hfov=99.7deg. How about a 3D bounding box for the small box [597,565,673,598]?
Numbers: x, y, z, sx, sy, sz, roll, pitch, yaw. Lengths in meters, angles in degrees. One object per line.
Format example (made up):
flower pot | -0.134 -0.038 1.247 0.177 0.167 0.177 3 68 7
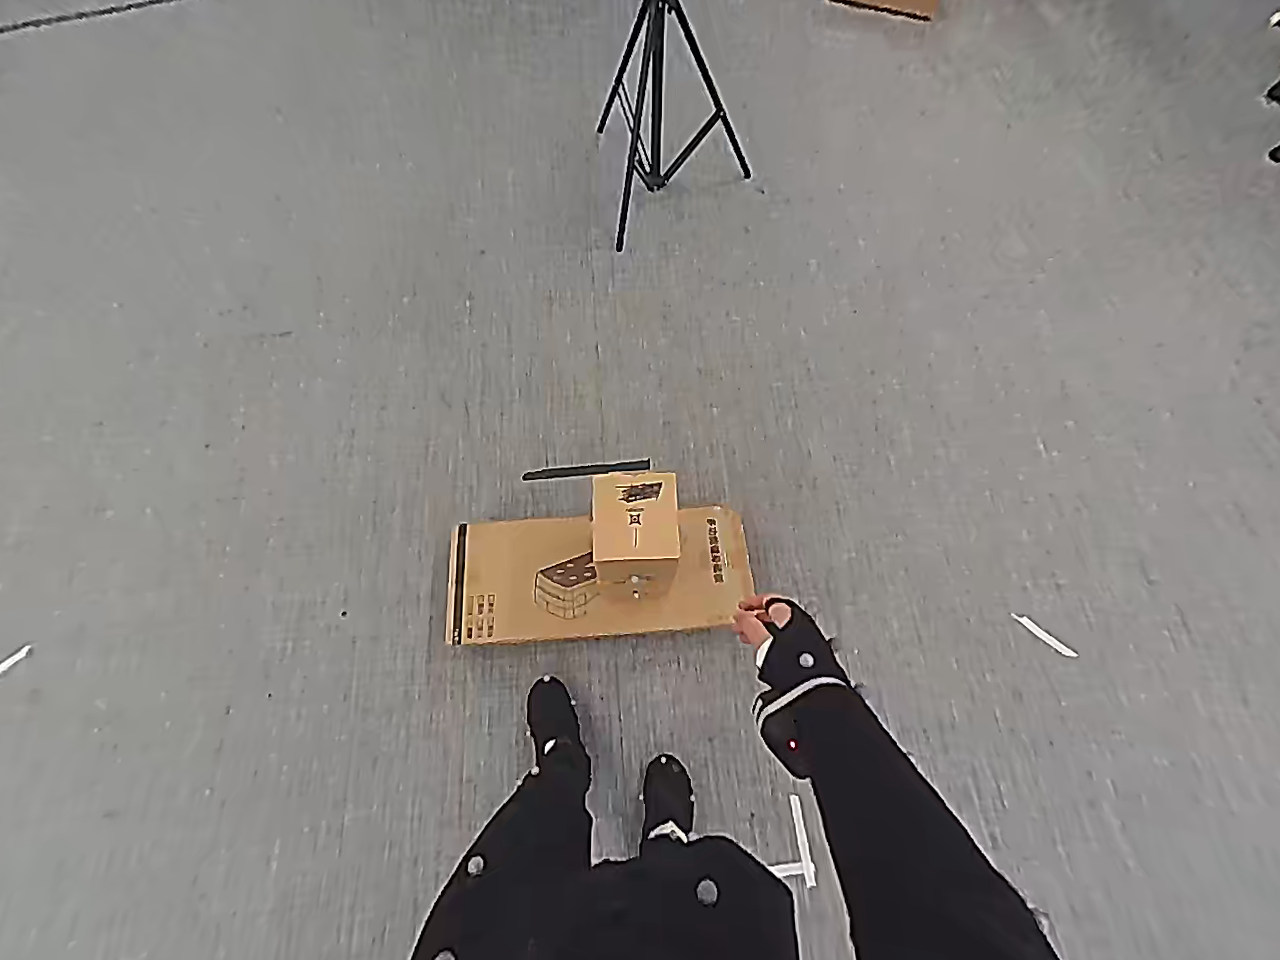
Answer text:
small box | -0.016 0.167 1.261 0.168 0.176 0.179 -5 67 -1

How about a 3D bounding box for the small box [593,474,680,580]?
small box | -0.008 0.101 1.110 0.168 0.176 0.179 -2 68 0
